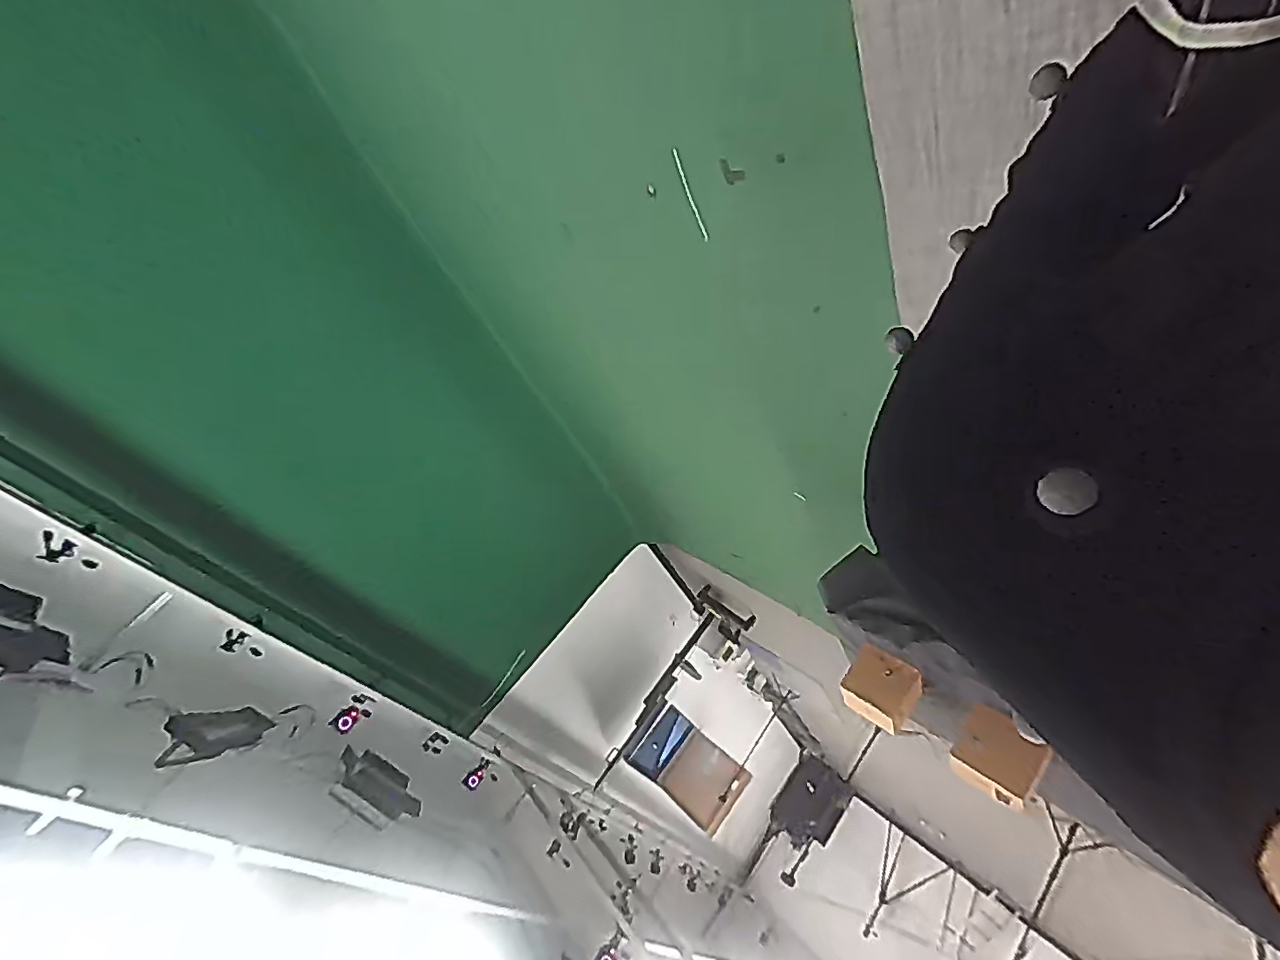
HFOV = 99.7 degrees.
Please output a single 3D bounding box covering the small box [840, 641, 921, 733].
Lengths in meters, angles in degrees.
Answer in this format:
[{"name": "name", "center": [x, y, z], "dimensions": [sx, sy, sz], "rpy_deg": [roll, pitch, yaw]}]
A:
[{"name": "small box", "center": [0.735, 0.626, 1.642], "dimensions": [0.168, 0.176, 0.179], "rpy_deg": [26, 157, 42]}]
